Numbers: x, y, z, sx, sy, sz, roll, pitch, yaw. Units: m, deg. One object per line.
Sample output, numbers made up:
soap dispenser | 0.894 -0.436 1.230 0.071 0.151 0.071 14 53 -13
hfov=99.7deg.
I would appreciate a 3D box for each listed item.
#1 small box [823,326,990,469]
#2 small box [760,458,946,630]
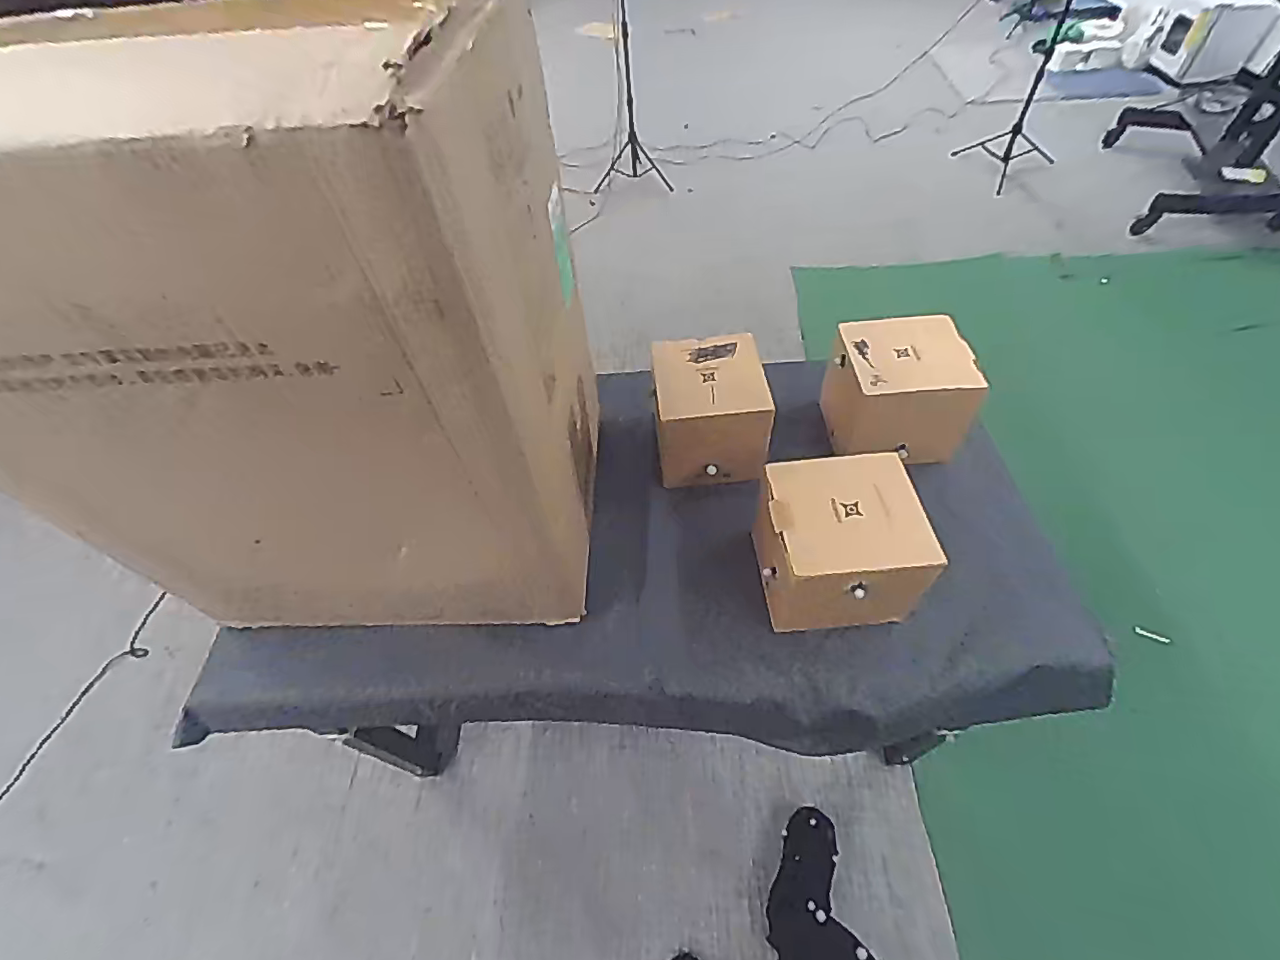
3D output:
small box | 0.416 -0.129 0.881 0.179 0.176 0.168 -3 51 3
small box | 0.264 0.091 0.726 0.179 0.176 0.168 -5 53 0
